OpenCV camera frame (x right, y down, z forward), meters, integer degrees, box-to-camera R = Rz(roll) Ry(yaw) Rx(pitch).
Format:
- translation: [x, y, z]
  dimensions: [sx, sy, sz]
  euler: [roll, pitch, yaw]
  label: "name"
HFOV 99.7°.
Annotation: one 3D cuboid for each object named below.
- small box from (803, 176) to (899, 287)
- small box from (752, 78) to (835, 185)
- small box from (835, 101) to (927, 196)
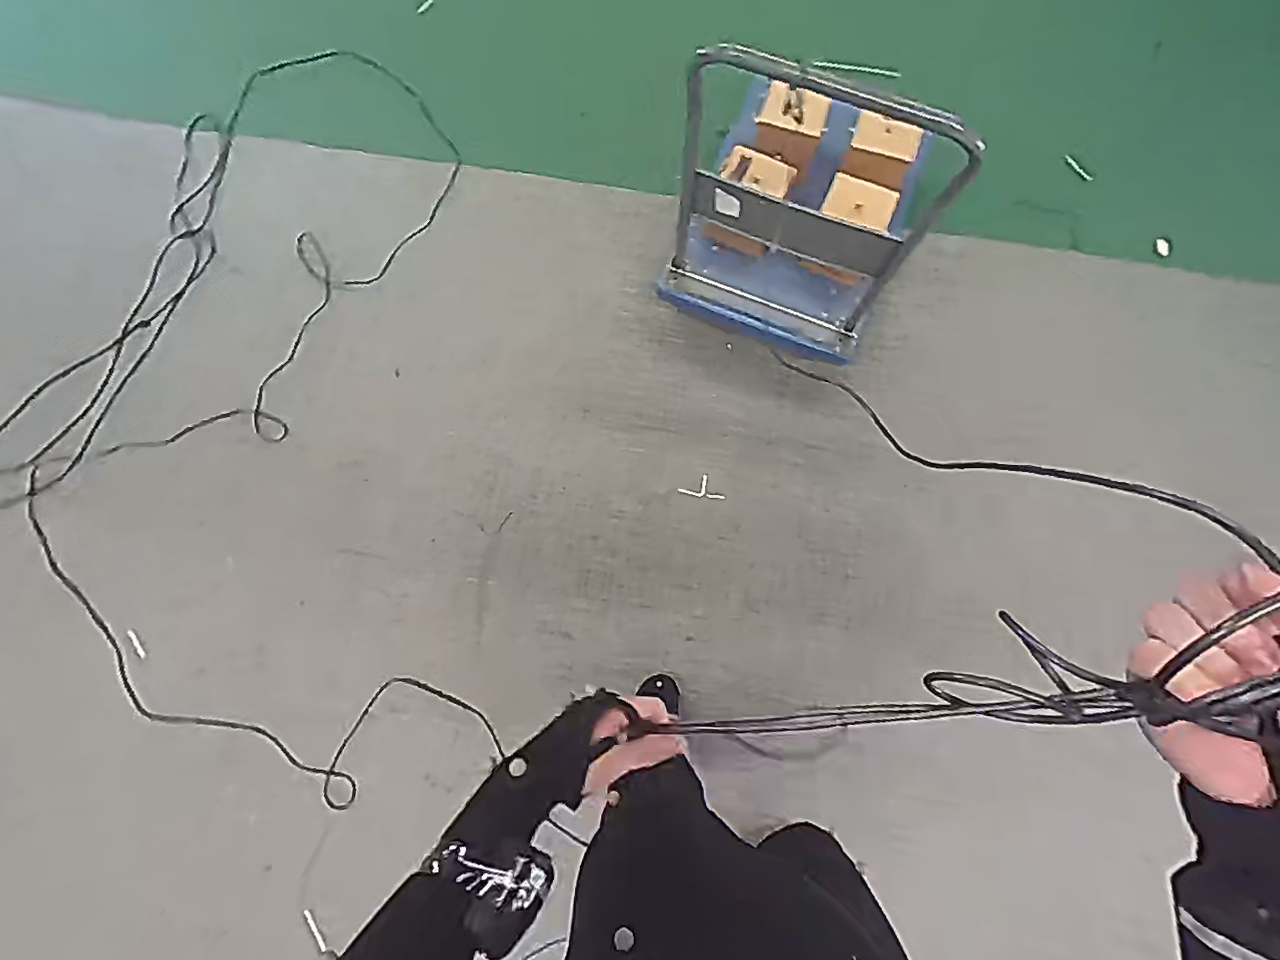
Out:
- translation: [0.556, -0.658, 1.447]
  dimensions: [0.168, 0.176, 0.179]
  euler: [24, 77, 7]
  label: "small box"
- translation: [0.428, -0.980, 1.533]
  dimensions: [0.168, 0.176, 0.179]
  euler: [19, 76, 5]
  label: "small box"
- translation: [0.664, -0.898, 1.507]
  dimensions: [0.168, 0.176, 0.179]
  euler: [19, 77, 7]
  label: "small box"
